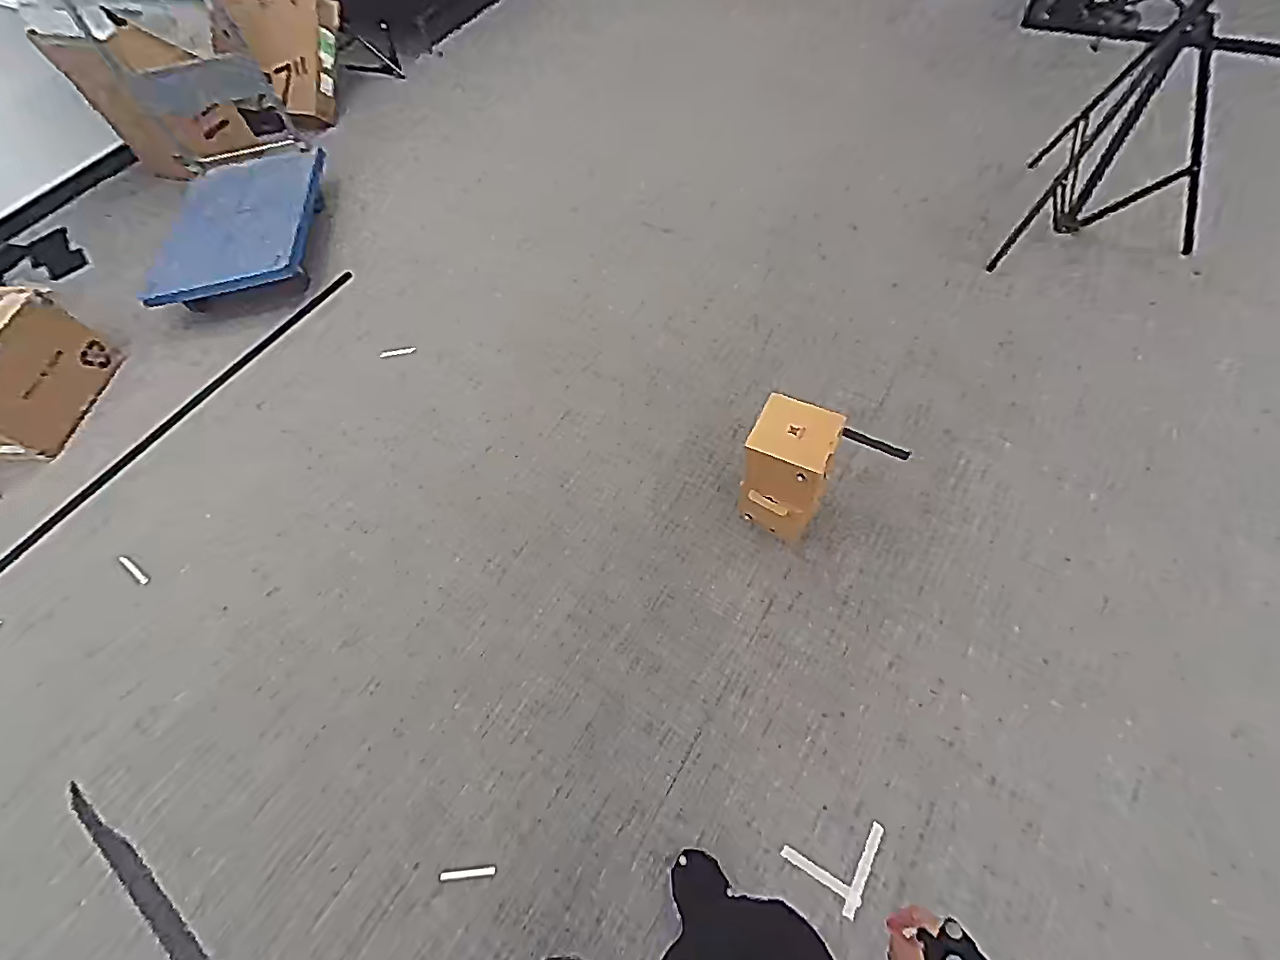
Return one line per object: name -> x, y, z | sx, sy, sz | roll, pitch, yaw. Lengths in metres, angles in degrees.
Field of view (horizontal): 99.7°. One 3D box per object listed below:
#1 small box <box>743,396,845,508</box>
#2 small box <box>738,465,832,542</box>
small box -> 0.346, -0.060, 1.245 | 0.179, 0.176, 0.168 | 22, 65, 19
small box -> 0.364, 0.030, 1.380 | 0.168, 0.176, 0.179 | 29, 67, 22
